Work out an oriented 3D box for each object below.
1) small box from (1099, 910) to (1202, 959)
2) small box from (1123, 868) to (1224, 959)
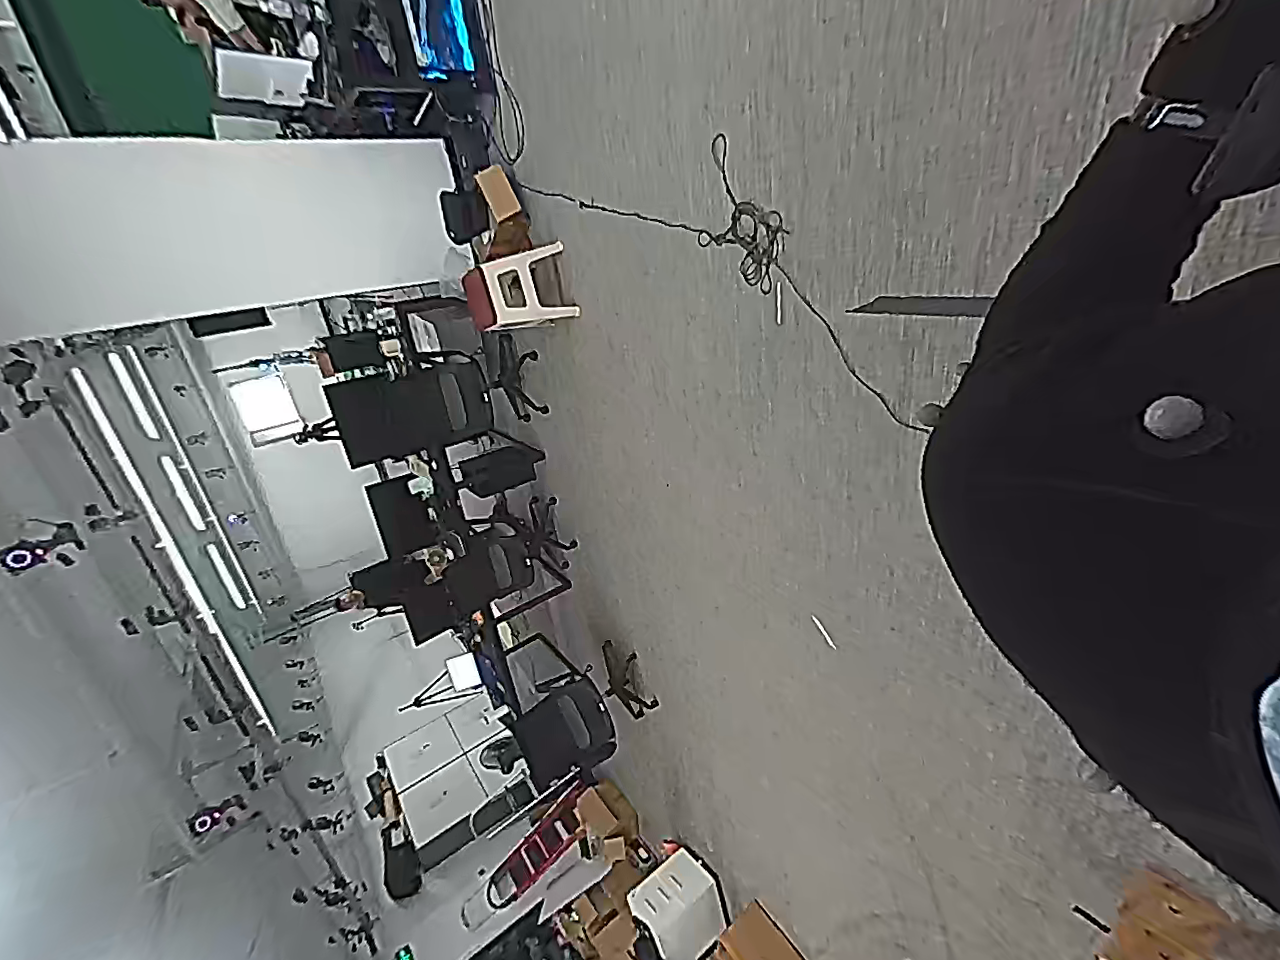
[{"bbox_3d":[1.269,1.246,1.349,0.168,0.176,0.179,20,125,51],"label":"small box"},{"bbox_3d":[1.399,1.190,1.431,0.168,0.176,0.179,19,126,53],"label":"small box"}]
